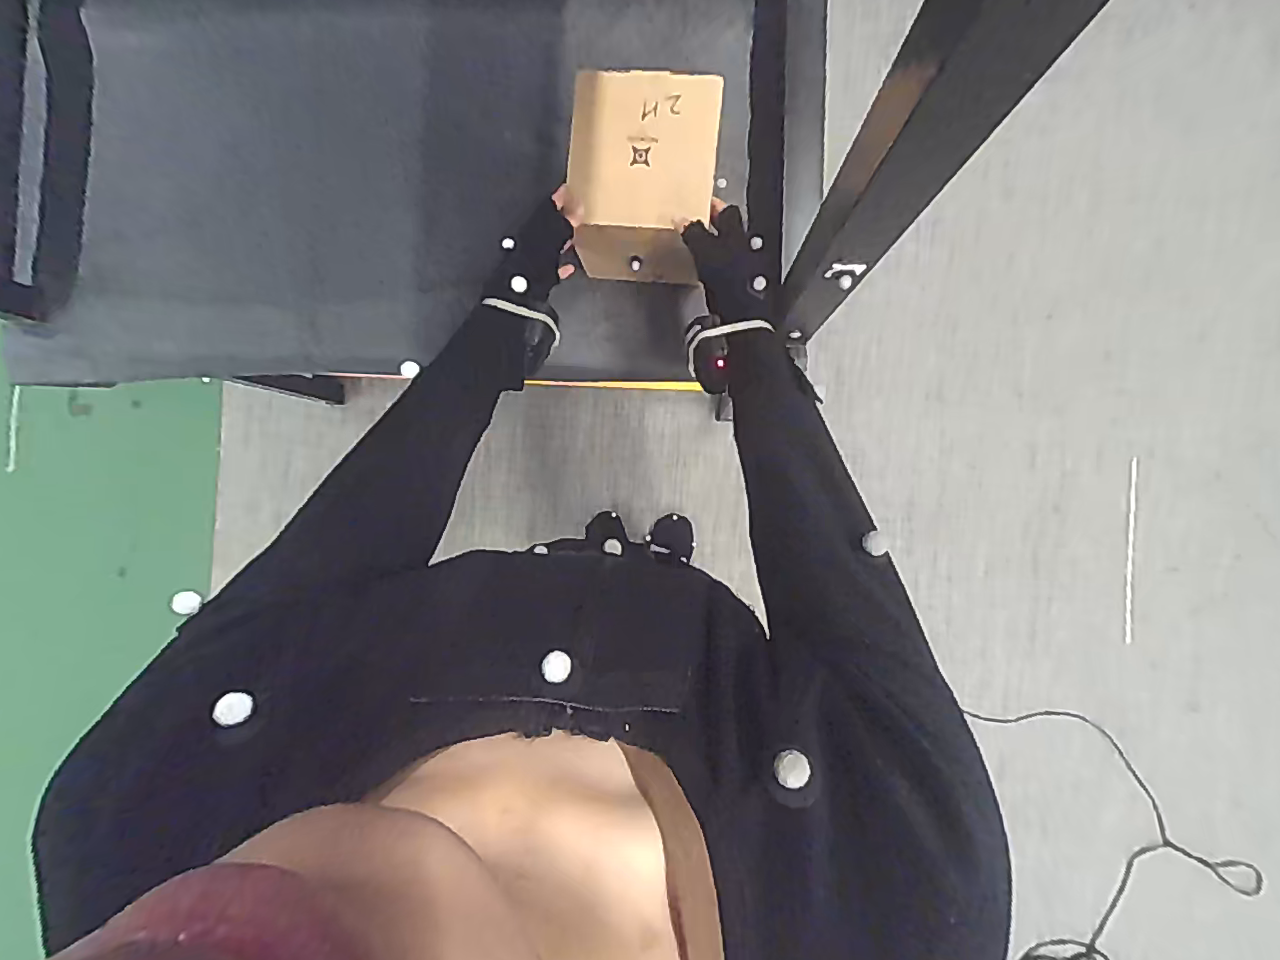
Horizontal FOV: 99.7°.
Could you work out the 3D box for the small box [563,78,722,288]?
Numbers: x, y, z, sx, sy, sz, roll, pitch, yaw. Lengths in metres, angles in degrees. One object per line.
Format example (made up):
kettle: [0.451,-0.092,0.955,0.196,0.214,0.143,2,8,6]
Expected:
small box: [0.008,-0.360,0.685,0.168,0.176,0.179,6,90,4]
